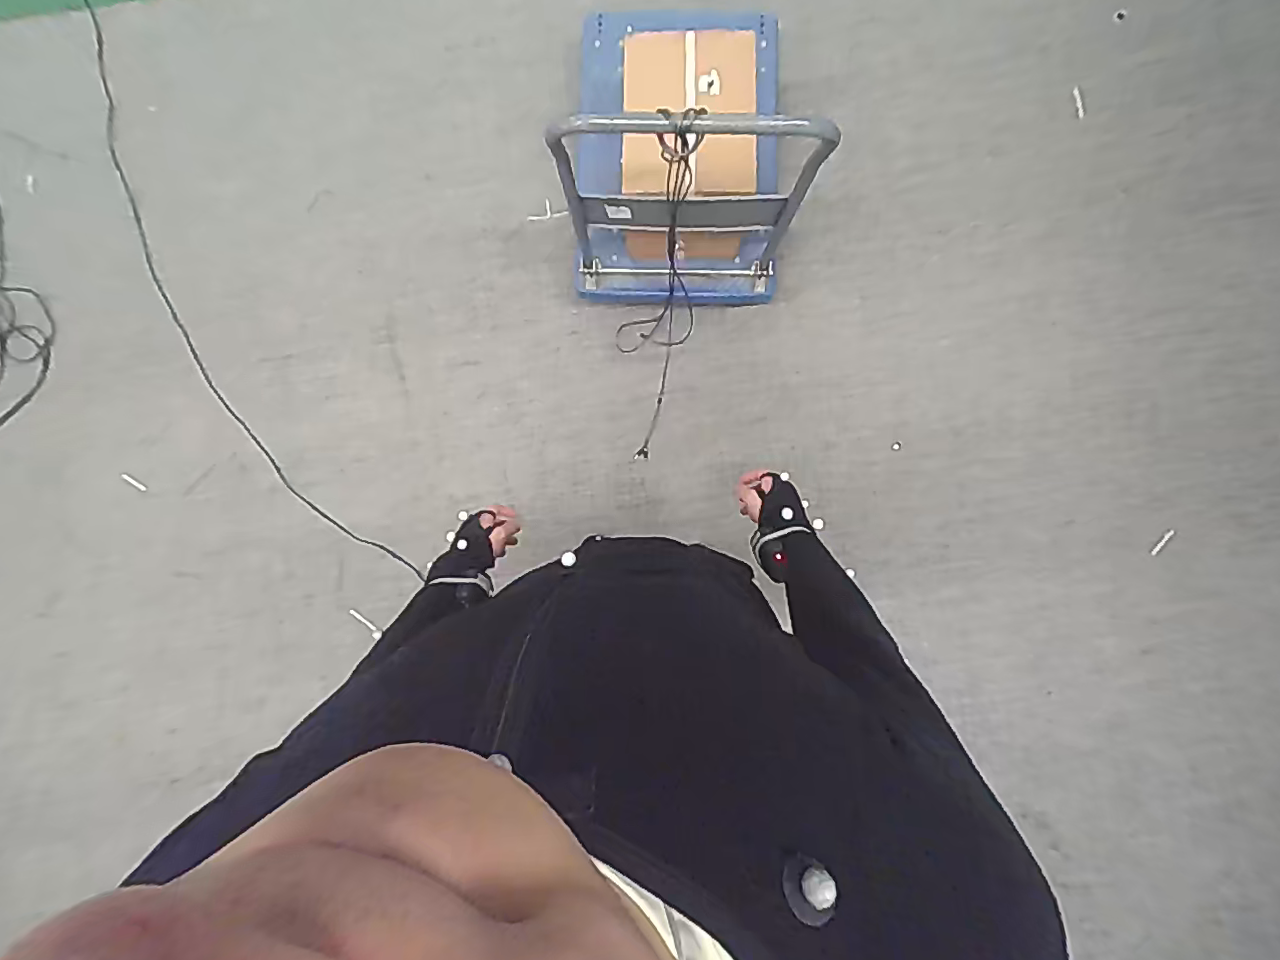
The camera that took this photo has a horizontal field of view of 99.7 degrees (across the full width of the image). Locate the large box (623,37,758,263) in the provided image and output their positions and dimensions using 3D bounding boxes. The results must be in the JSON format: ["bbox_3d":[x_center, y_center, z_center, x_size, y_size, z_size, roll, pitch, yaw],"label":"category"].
[{"bbox_3d":[0.123,-0.828,1.405,0.320,0.320,0.408,1,85,1],"label":"large box"}]
